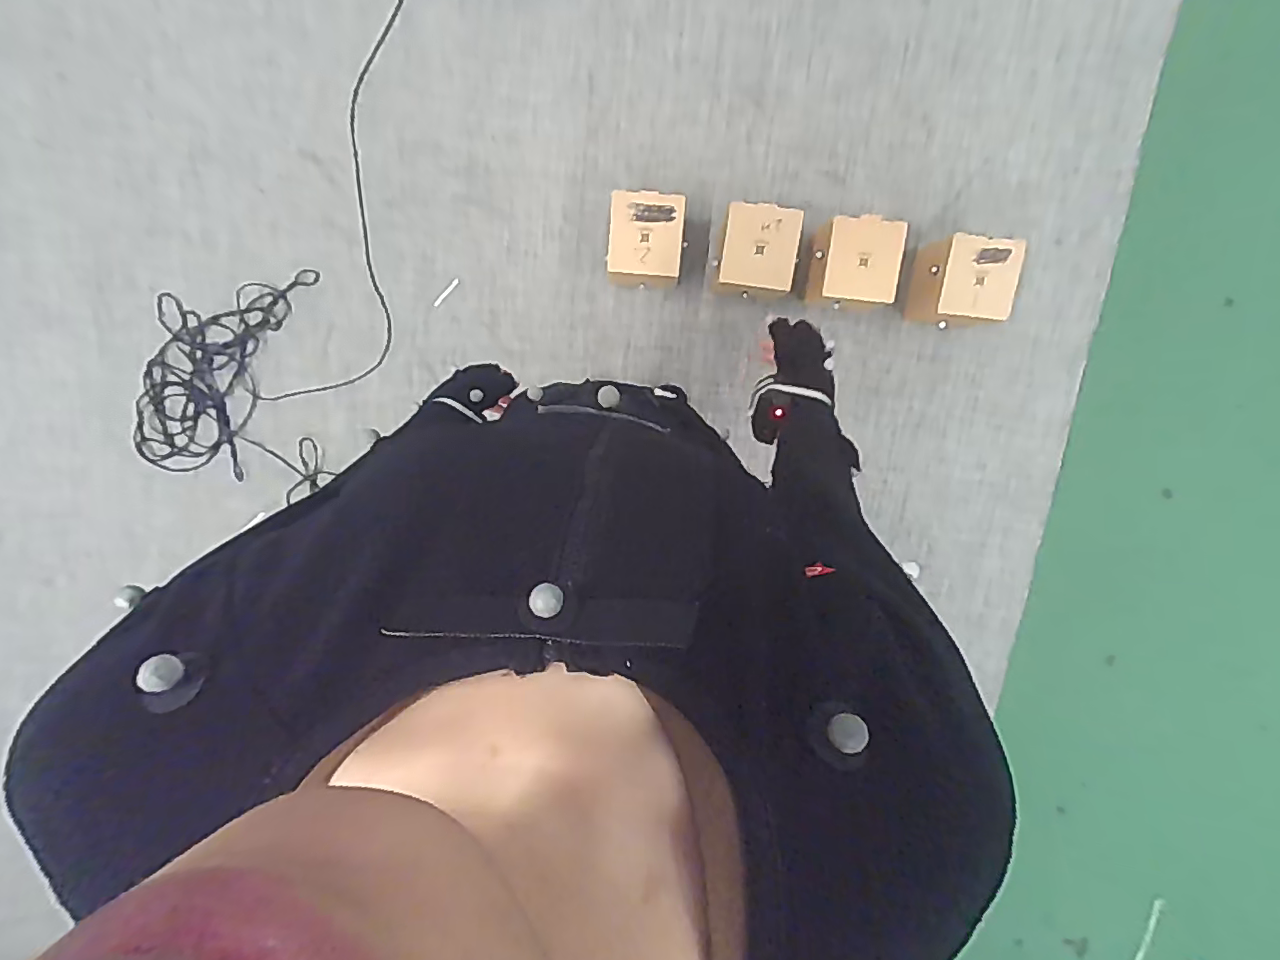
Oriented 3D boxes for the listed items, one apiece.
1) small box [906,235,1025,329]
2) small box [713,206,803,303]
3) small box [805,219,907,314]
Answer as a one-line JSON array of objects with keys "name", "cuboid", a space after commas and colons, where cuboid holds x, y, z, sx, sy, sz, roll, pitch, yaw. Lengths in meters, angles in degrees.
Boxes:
[{"name": "small box", "cuboid": [0.763, -0.463, 1.288, 0.168, 0.176, 0.179, 6, 102, 0]}, {"name": "small box", "cuboid": [0.272, -0.526, 1.285, 0.168, 0.176, 0.179, 7, 101, -1]}, {"name": "small box", "cuboid": [0.503, -0.499, 1.287, 0.168, 0.176, 0.179, 5, 101, 0]}]
